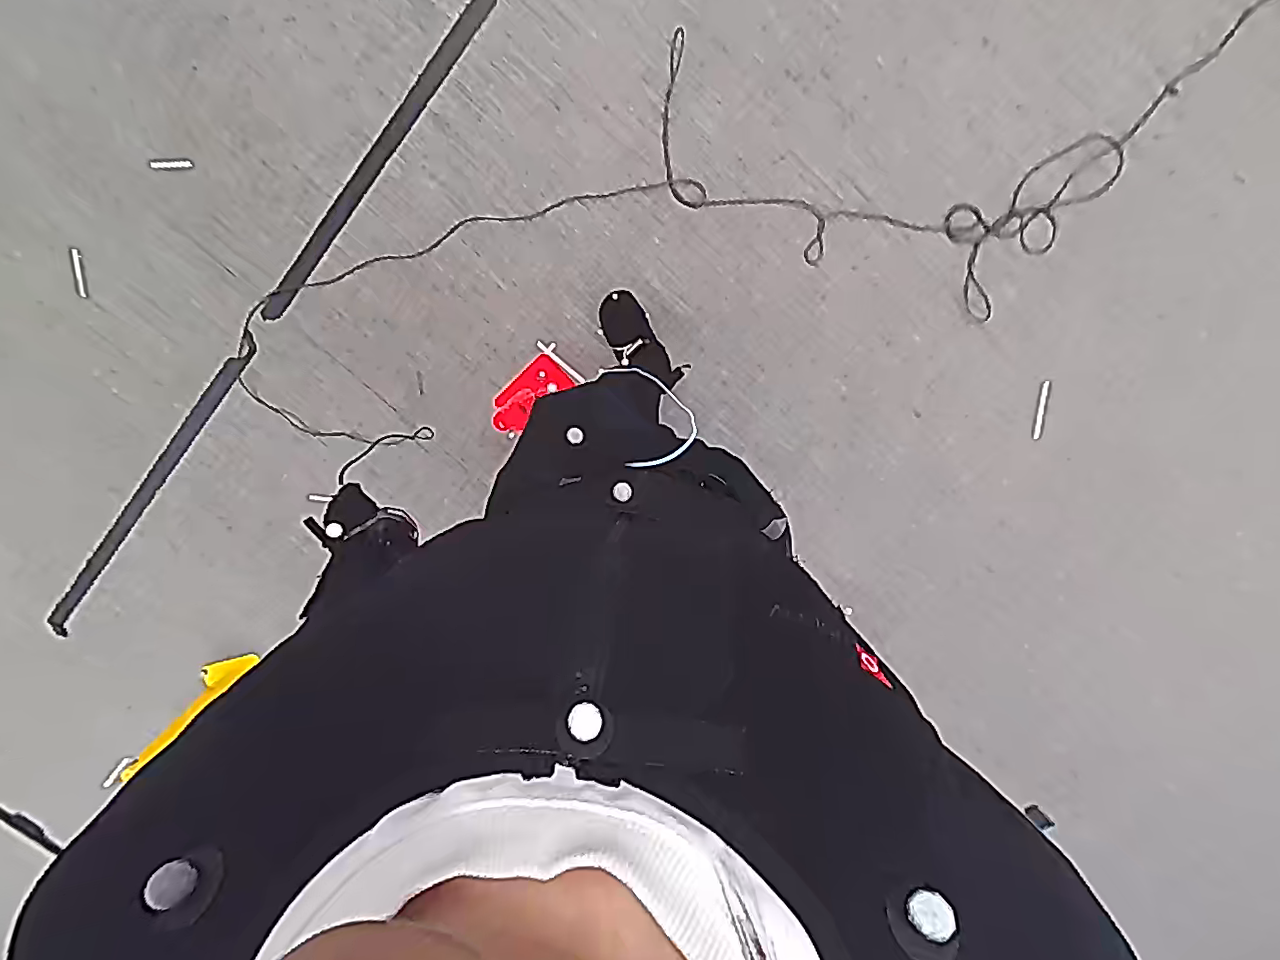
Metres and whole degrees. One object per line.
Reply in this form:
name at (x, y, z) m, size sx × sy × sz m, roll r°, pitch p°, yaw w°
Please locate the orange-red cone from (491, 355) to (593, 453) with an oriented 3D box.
orange-red cone at (-0.259, -0.155, 1.226) m, size 0.199 × 0.360 × 0.198 m, roll -39°, pitch 97°, yaw 12°
